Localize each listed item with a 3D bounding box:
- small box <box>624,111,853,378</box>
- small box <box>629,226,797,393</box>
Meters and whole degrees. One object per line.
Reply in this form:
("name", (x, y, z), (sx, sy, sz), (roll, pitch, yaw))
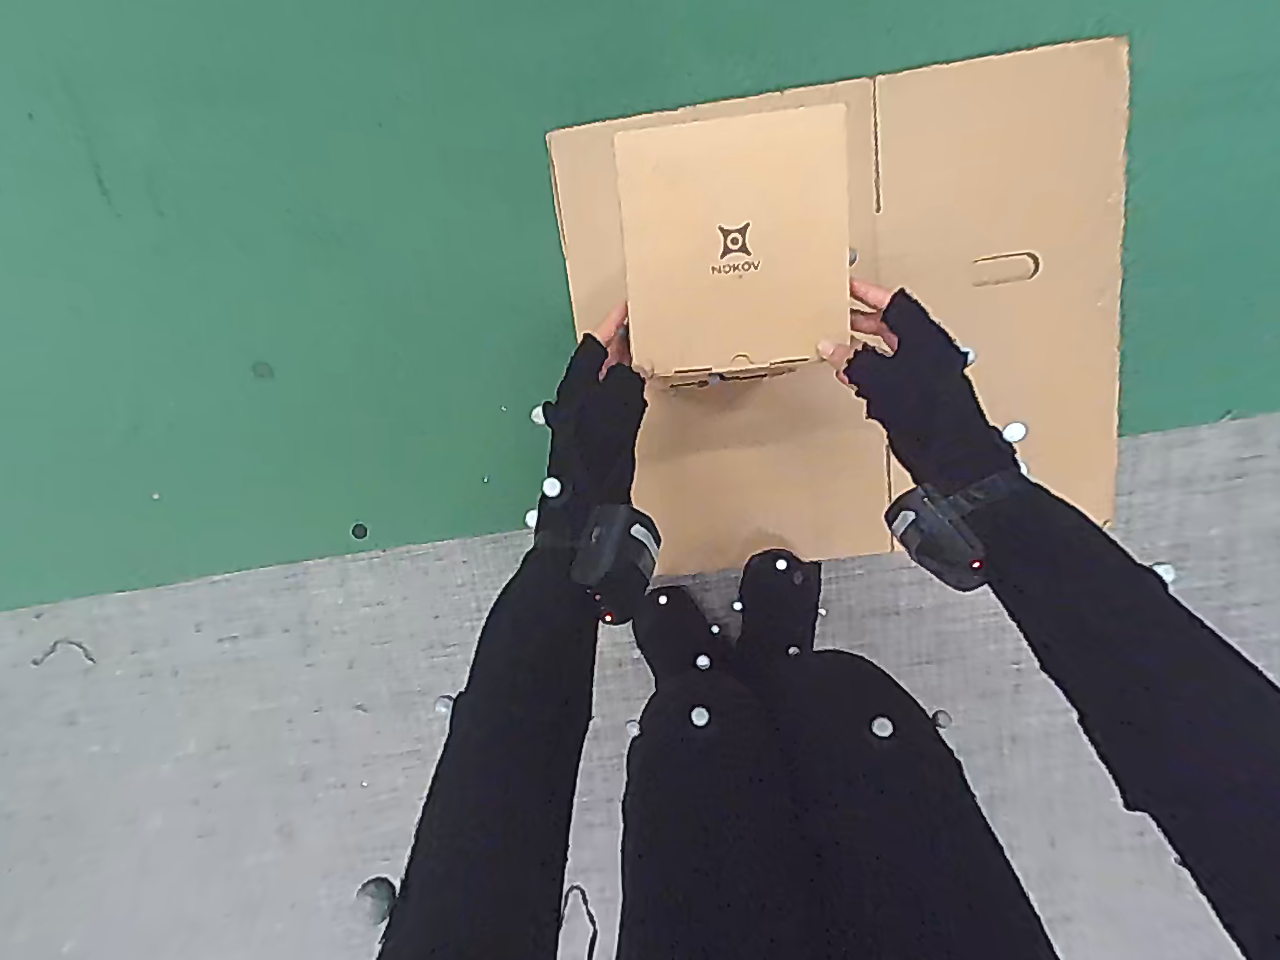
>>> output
("small box", (0.077, -0.184, 0.477), (0.168, 0.176, 0.179), (-4, 101, 4))
("small box", (0.084, -0.200, 0.639), (0.168, 0.176, 0.179), (-6, 100, 5))
